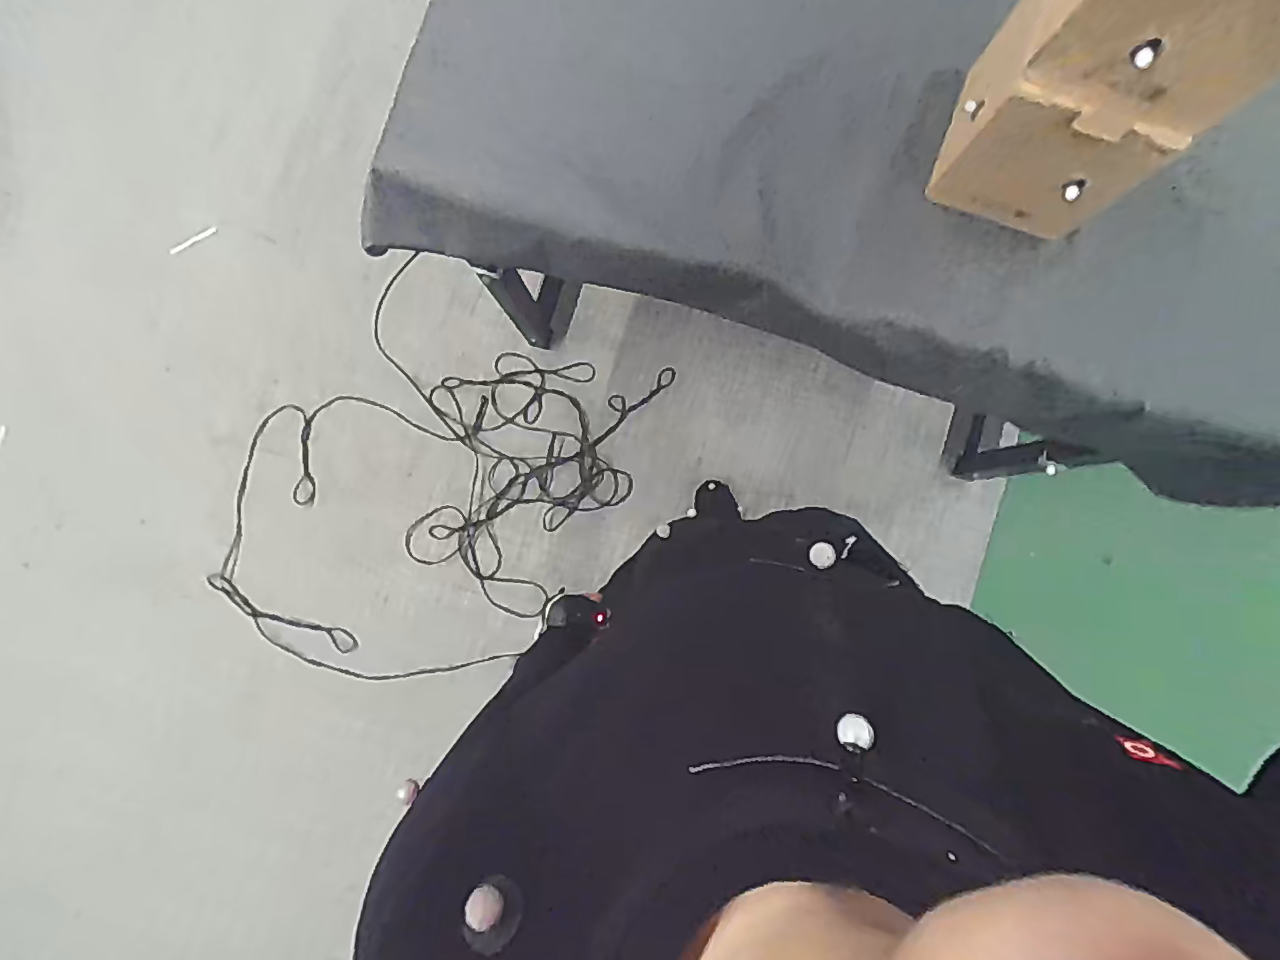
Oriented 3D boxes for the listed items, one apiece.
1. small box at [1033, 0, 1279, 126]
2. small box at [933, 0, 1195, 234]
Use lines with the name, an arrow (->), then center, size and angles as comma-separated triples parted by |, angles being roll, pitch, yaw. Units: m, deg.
small box -> 0.450, -0.423, 0.410 | 0.168, 0.176, 0.179 | 21, 88, 2
small box -> 0.444, -0.398, 0.572 | 0.168, 0.176, 0.179 | 20, 86, 2
